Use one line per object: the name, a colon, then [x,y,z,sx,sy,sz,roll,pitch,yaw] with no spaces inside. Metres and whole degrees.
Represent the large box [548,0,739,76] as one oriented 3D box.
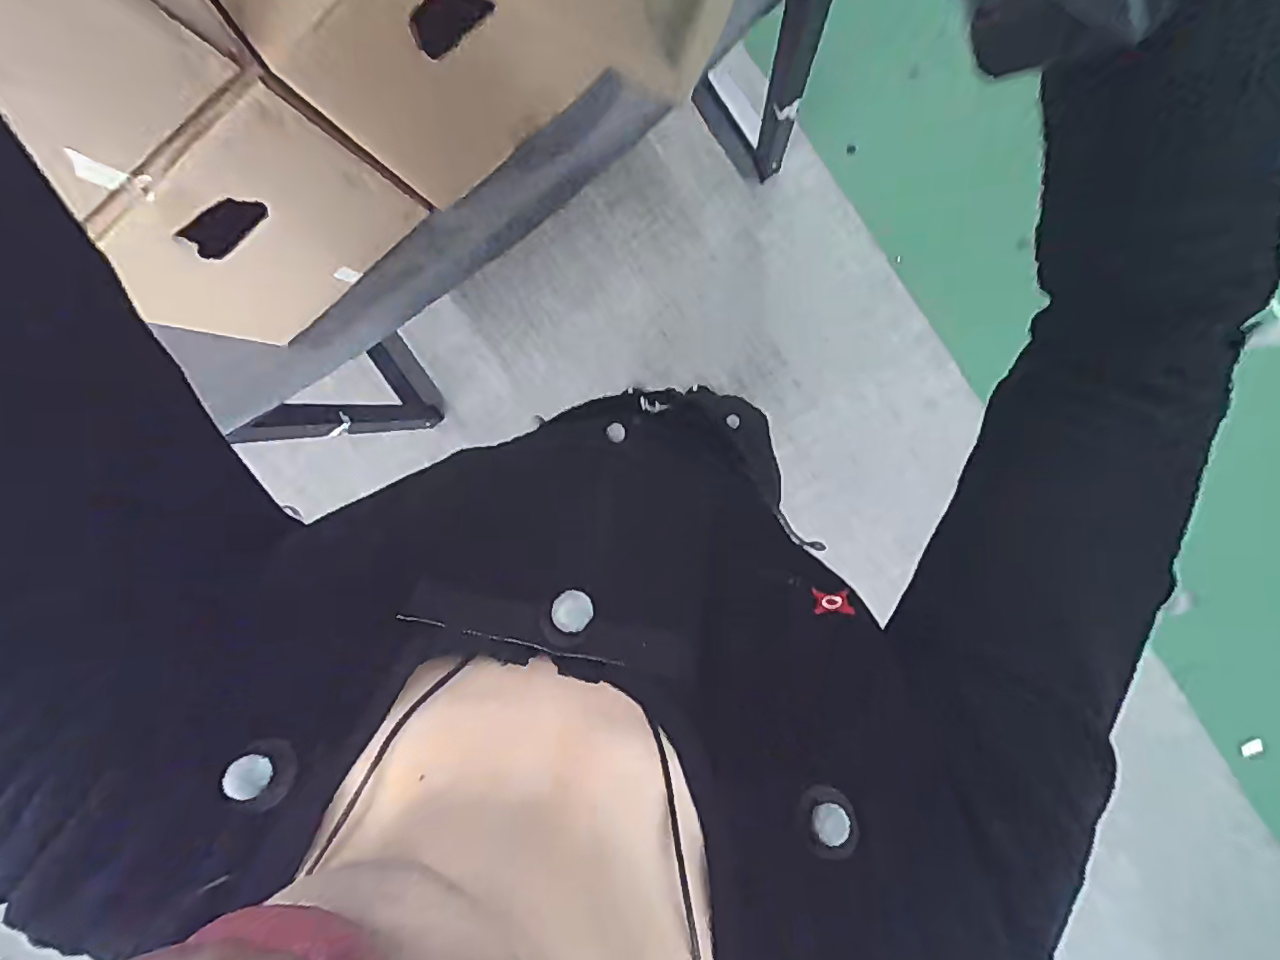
large box: [-0.090,-0.443,0.209,0.408,0.320,0.320,27,118,-4]
